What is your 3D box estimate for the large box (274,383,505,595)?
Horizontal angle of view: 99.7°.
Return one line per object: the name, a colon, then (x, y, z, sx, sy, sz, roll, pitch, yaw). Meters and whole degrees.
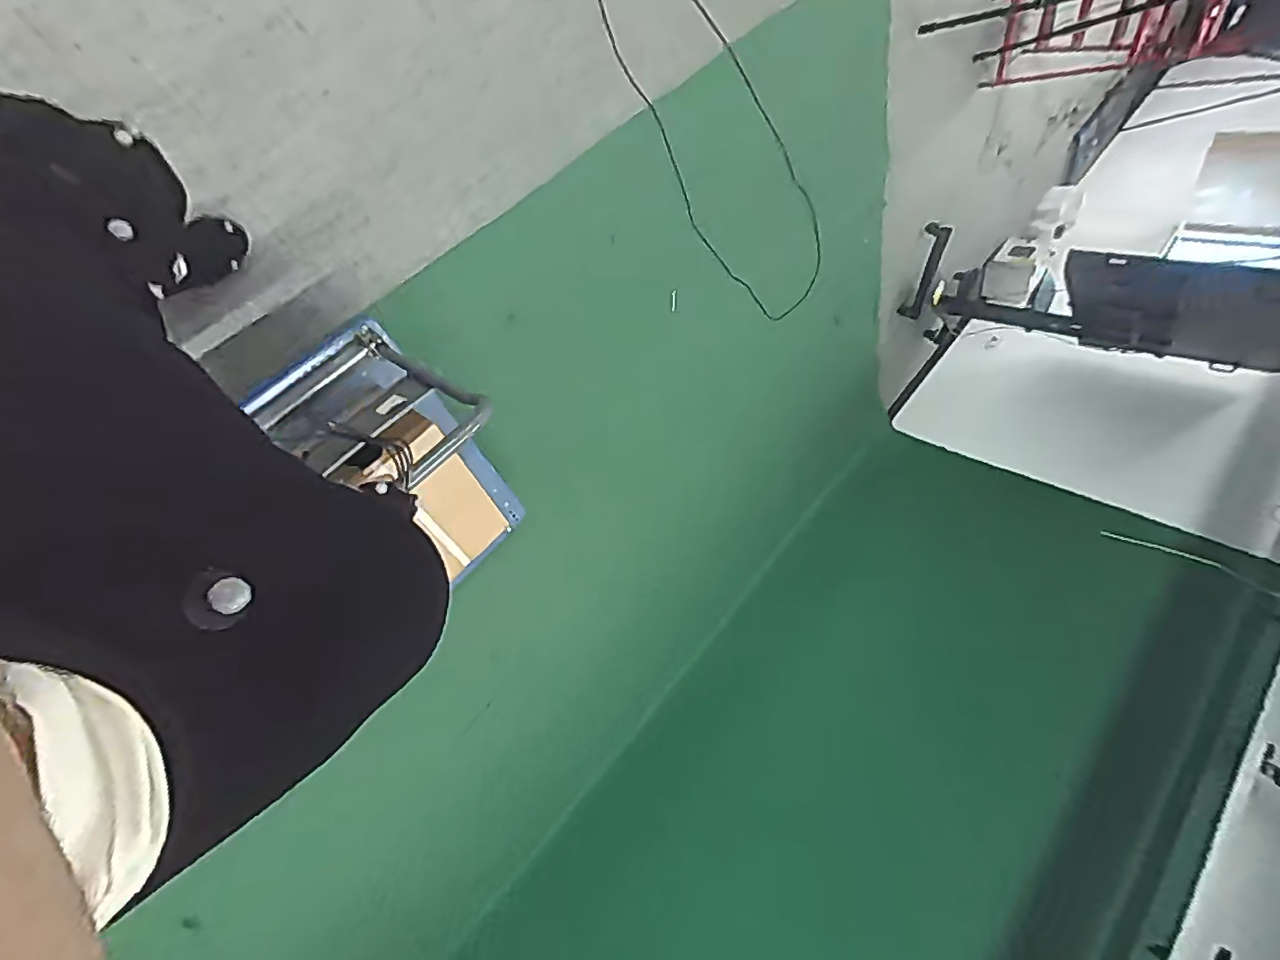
large box: (-0.637, 0.023, 1.416, 0.320, 0.320, 0.408, -44, 141, -20)
